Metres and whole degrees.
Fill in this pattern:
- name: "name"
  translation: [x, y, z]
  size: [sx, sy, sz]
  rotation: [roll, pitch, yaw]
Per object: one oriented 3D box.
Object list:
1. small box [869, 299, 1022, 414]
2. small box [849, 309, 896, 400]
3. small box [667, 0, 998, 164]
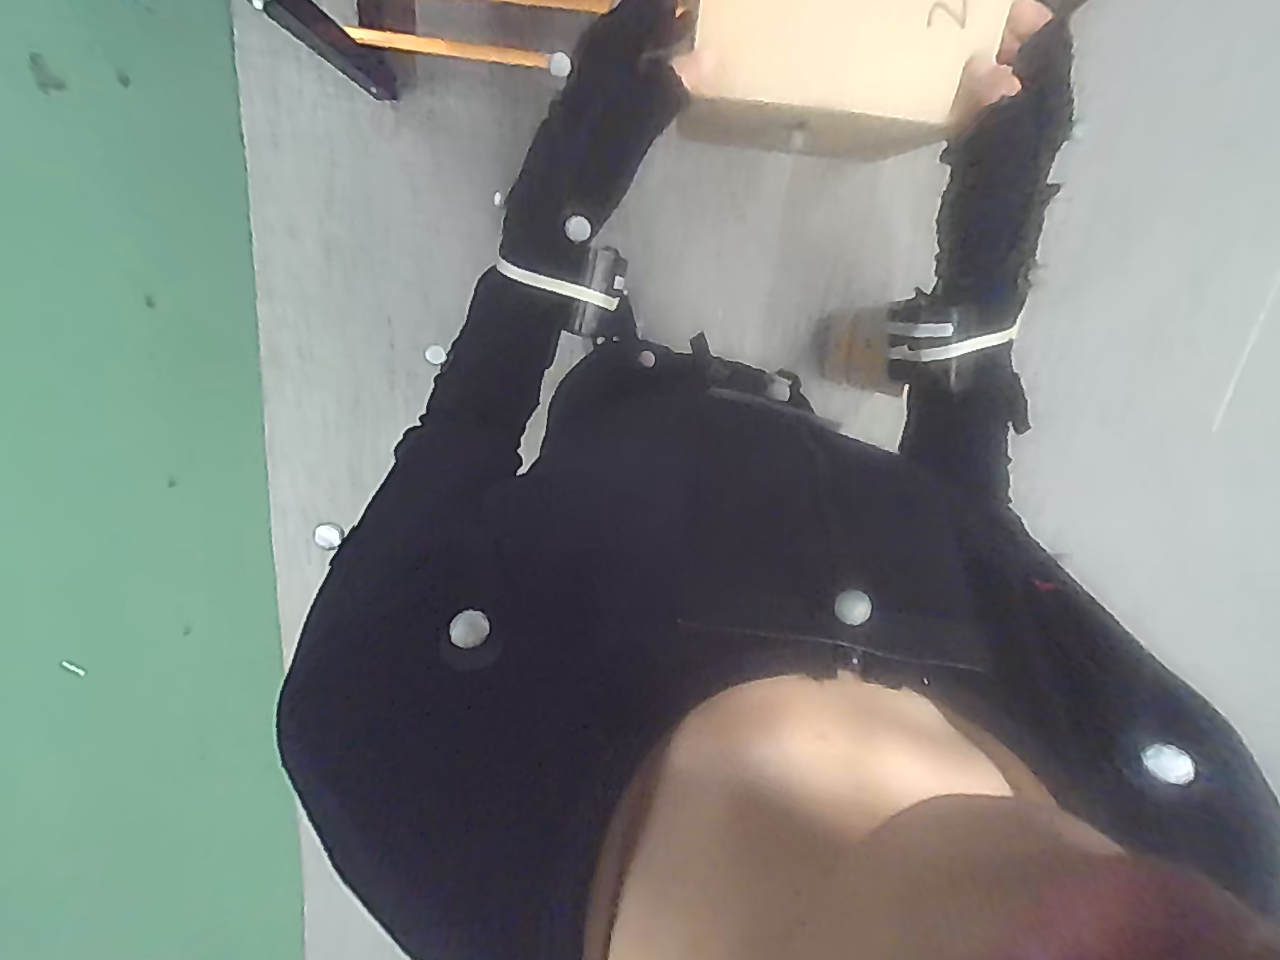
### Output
- name: "small box"
  translation: [0.542, -0.227, 0.987]
  size: [0.168, 0.176, 0.179]
  rotation: [7, 106, 1]
- name: "small box"
  translation: [0.560, -0.265, 1.145]
  size: [0.168, 0.176, 0.179]
  rotation: [4, 105, 1]
- name: "small box"
  translation: [0.114, -0.321, 0.359]
  size: [0.179, 0.176, 0.168]
  rotation: [6, 114, -2]
